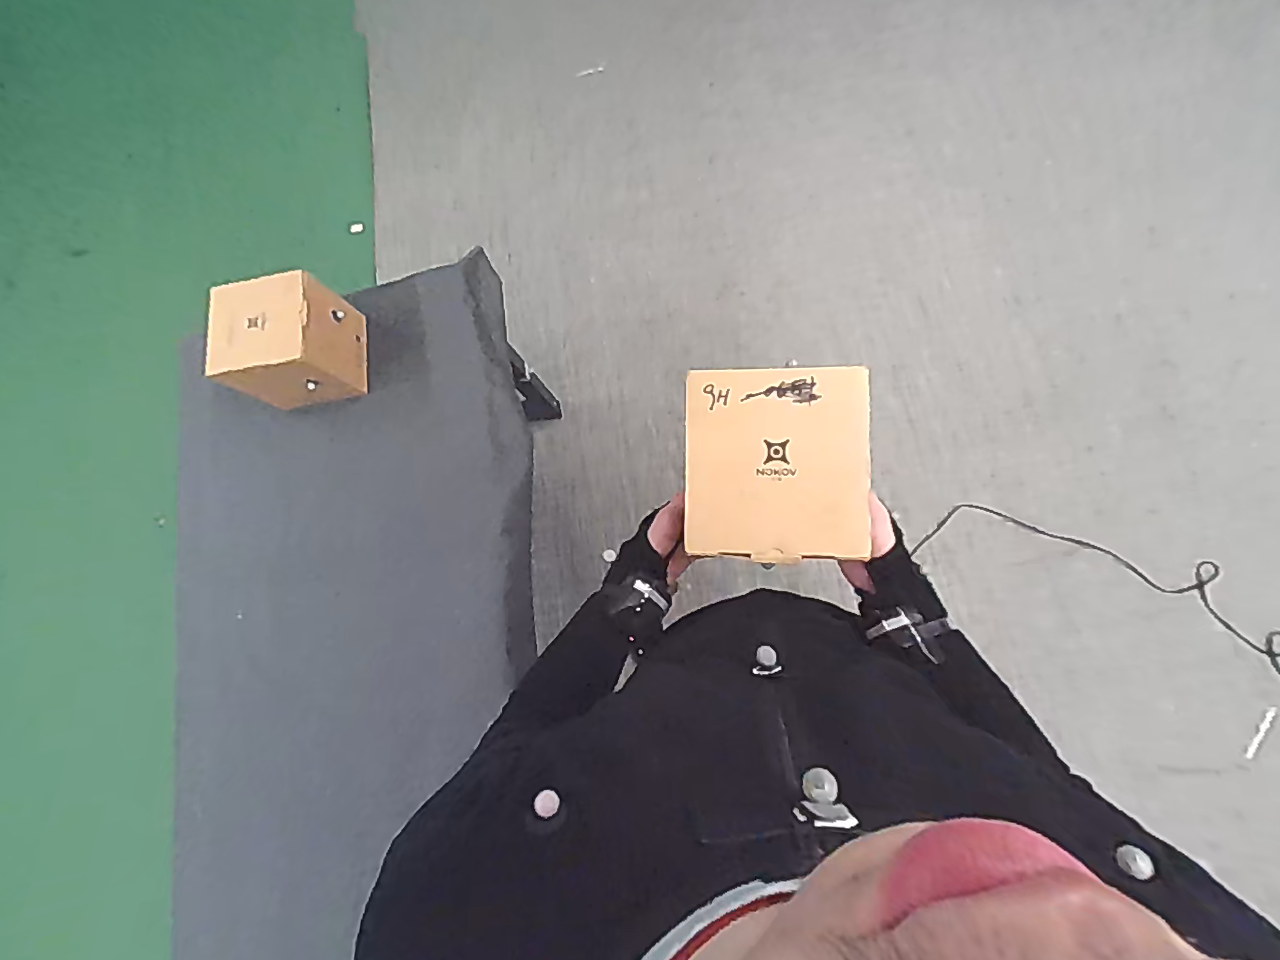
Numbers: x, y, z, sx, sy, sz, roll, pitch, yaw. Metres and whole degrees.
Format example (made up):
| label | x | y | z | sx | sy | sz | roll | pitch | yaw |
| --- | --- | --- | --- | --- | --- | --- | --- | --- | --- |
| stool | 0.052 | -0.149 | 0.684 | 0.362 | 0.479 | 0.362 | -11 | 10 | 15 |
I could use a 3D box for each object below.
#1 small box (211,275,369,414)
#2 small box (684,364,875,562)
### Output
| label | x | y | z | sx | sy | sz | roll | pitch | yaw |
| --- | --- | --- | --- | --- | --- | --- | --- | --- | --- |
| small box | -0.613 | -0.233 | 0.968 | 0.179 | 0.176 | 0.168 | -9 | 75 | 7 |
| small box | 0.136 | -0.012 | 0.561 | 0.168 | 0.176 | 0.179 | 1 | 85 | 8 |
